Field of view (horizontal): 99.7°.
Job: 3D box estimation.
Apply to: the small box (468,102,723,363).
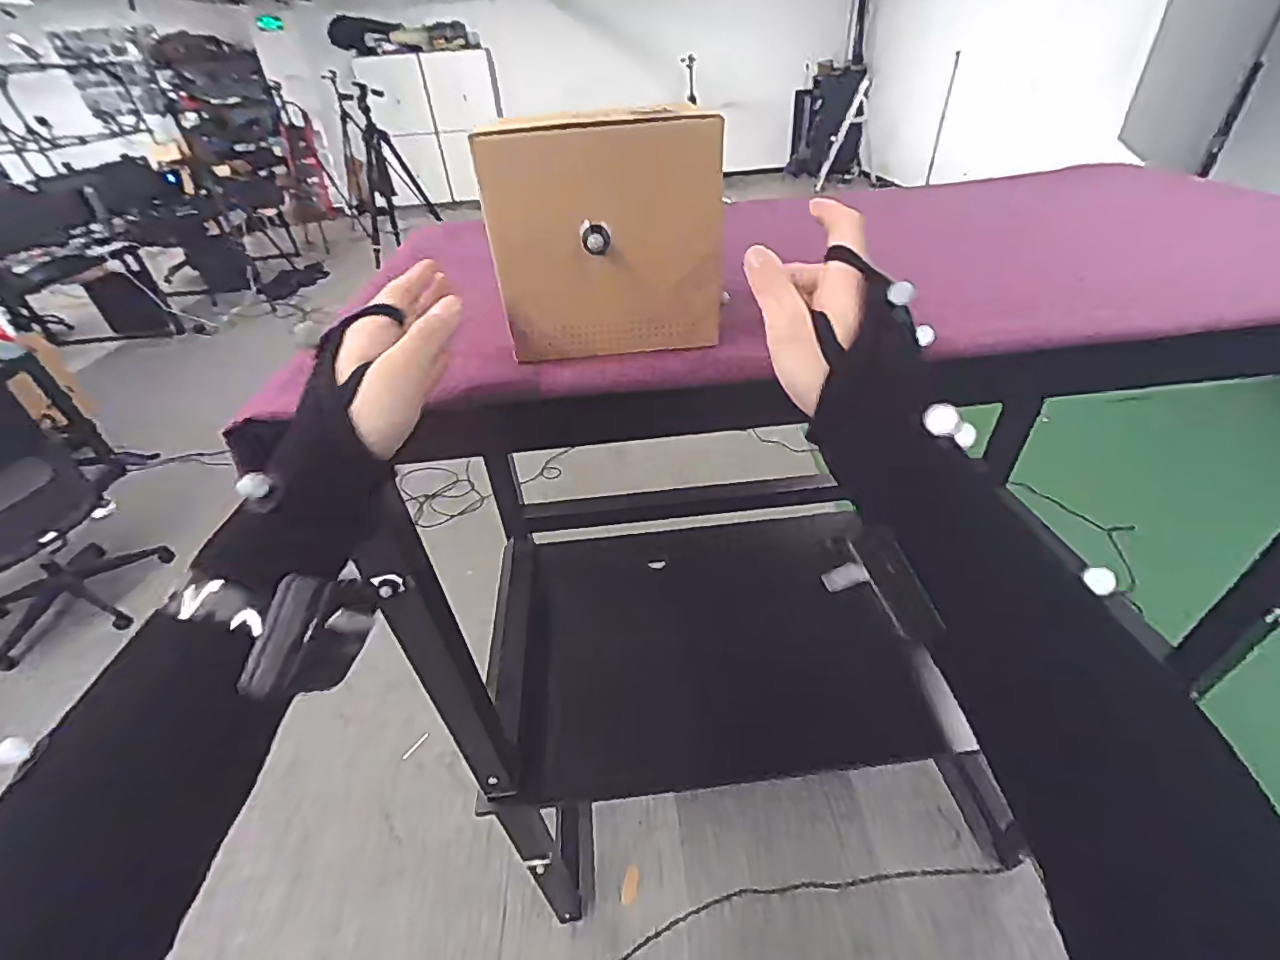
[{"bbox_3d":[-0.029,-0.218,0.474,0.179,0.176,0.168,-6,37,0],"label":"small box"}]
